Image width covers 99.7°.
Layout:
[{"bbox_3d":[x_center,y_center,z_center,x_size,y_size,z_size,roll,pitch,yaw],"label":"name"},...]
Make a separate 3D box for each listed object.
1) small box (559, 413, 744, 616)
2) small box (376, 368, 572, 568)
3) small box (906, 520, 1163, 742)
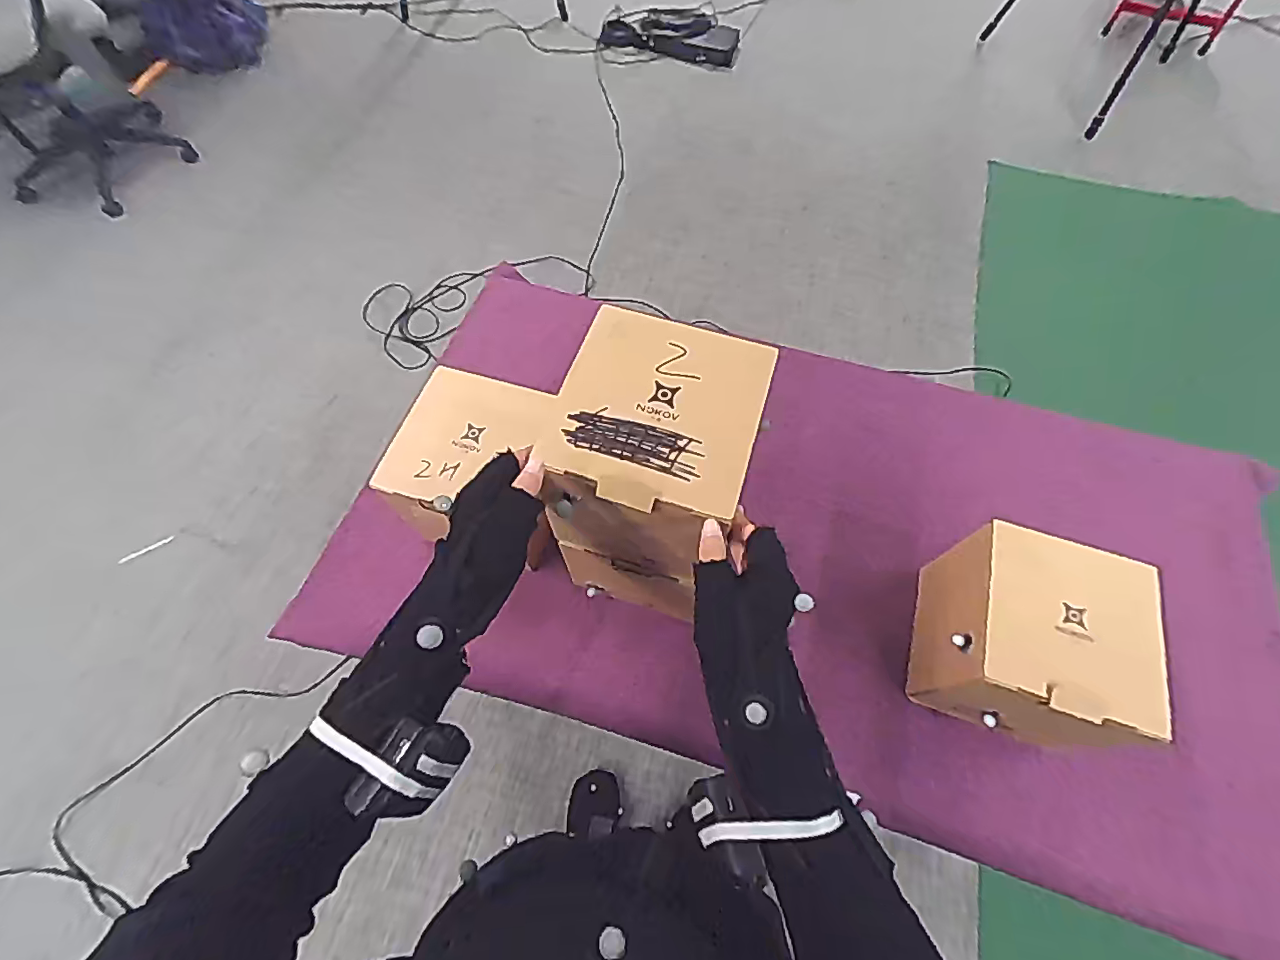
[{"bbox_3d":[0.017,0.051,0.668,0.168,0.176,0.179,17,64,8],"label":"small box"},{"bbox_3d":[-0.193,-0.009,0.696,0.168,0.176,0.179,16,64,8],"label":"small box"},{"bbox_3d":[0.423,0.175,0.607,0.168,0.176,0.179,18,64,9],"label":"small box"}]
